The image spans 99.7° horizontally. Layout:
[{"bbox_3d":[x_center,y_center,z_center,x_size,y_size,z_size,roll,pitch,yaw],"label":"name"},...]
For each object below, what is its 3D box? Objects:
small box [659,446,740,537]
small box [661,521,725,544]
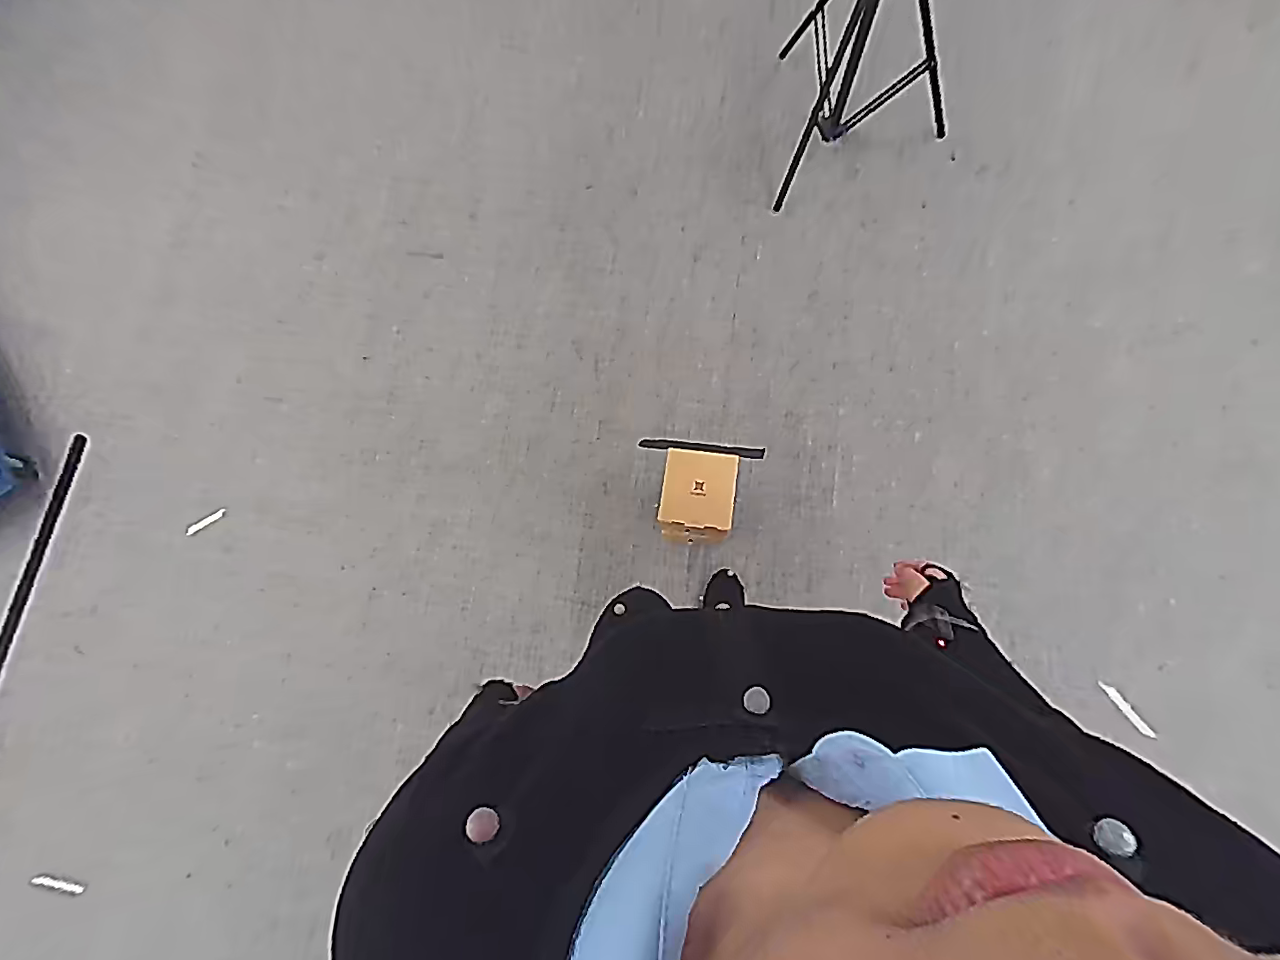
[{"bbox_3d":[0.141,0.033,1.299,0.168,0.176,0.179,7,79,7],"label":"small box"},{"bbox_3d":[0.150,0.075,1.457,0.168,0.176,0.179,5,78,6],"label":"small box"}]
